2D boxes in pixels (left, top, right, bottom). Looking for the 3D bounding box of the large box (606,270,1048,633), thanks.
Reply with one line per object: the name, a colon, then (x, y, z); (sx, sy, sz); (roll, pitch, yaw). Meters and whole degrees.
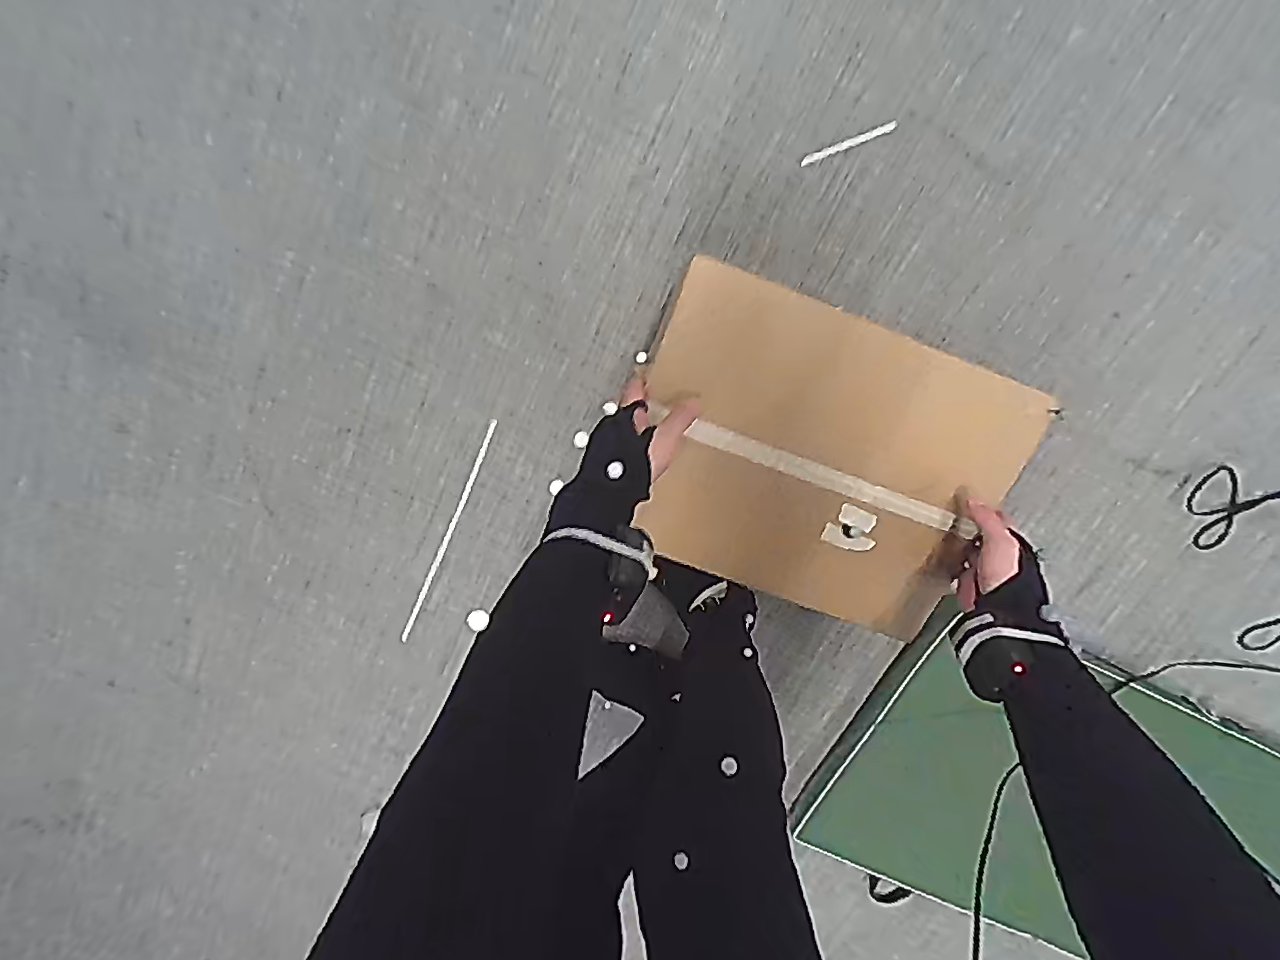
large box: (0.197, -0.057, 0.739); (0.408, 0.320, 0.320); (20, 108, -5)
